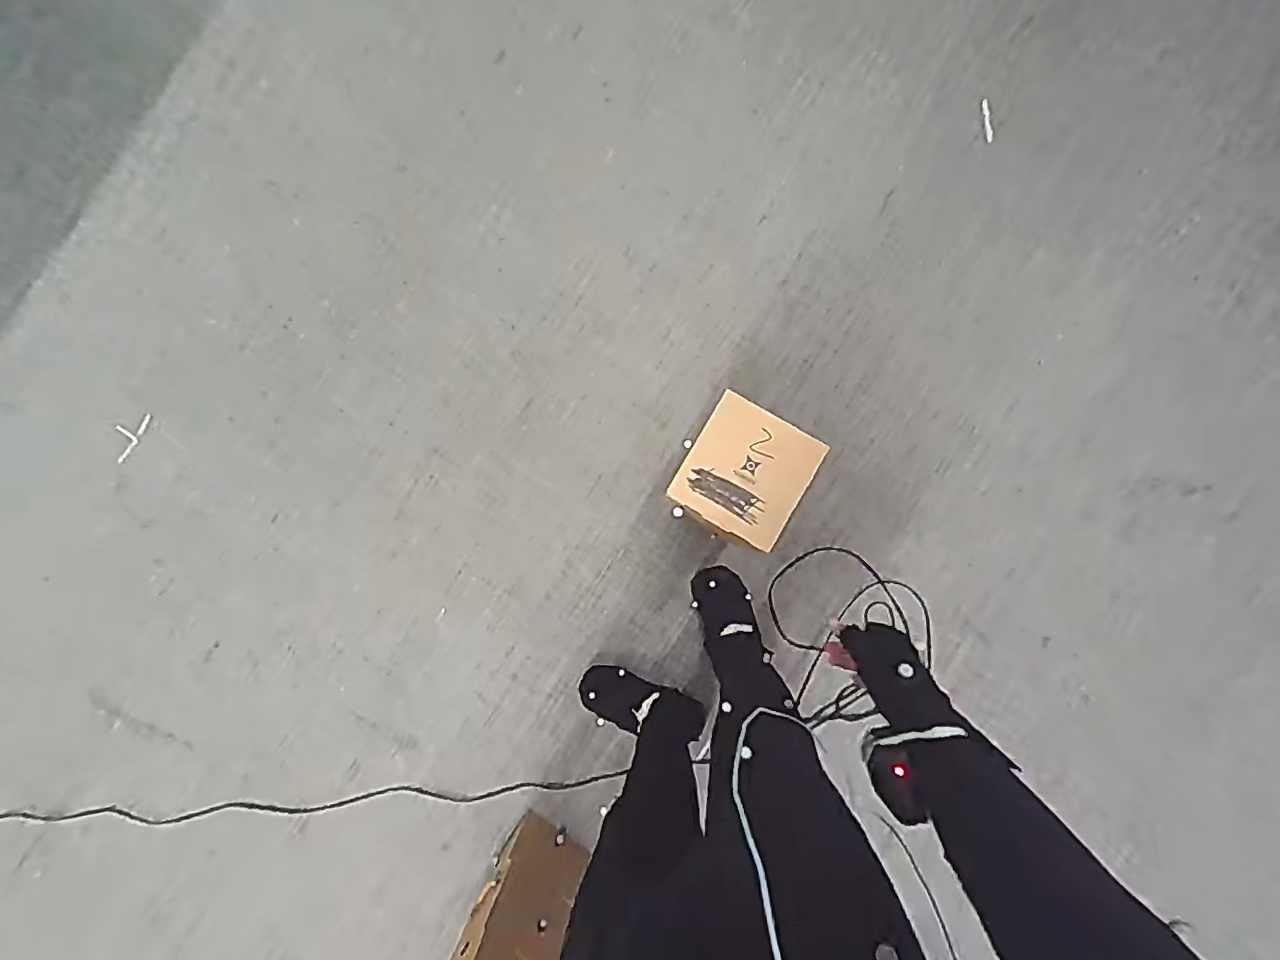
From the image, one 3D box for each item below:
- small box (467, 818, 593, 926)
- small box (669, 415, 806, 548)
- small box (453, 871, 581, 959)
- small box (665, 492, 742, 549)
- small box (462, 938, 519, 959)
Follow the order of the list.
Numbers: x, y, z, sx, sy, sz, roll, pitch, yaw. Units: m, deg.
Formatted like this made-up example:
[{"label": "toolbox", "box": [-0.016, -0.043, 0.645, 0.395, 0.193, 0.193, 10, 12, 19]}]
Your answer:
[{"label": "small box", "box": [-0.221, 0.855, 1.134, 0.179, 0.176, 0.168, 31, 92, 5]}, {"label": "small box", "box": [0.166, 0.008, 0.989, 0.179, 0.176, 0.168, 34, 89, 3]}, {"label": "small box", "box": [-0.227, 0.855, 0.967, 0.179, 0.176, 0.168, 35, 90, 3]}, {"label": "small box", "box": [0.169, 0.026, 1.152, 0.179, 0.176, 0.168, 34, 89, 4]}, {"label": "small box", "box": [-0.240, 0.854, 0.805, 0.179, 0.176, 0.168, 40, 90, 4]}]
